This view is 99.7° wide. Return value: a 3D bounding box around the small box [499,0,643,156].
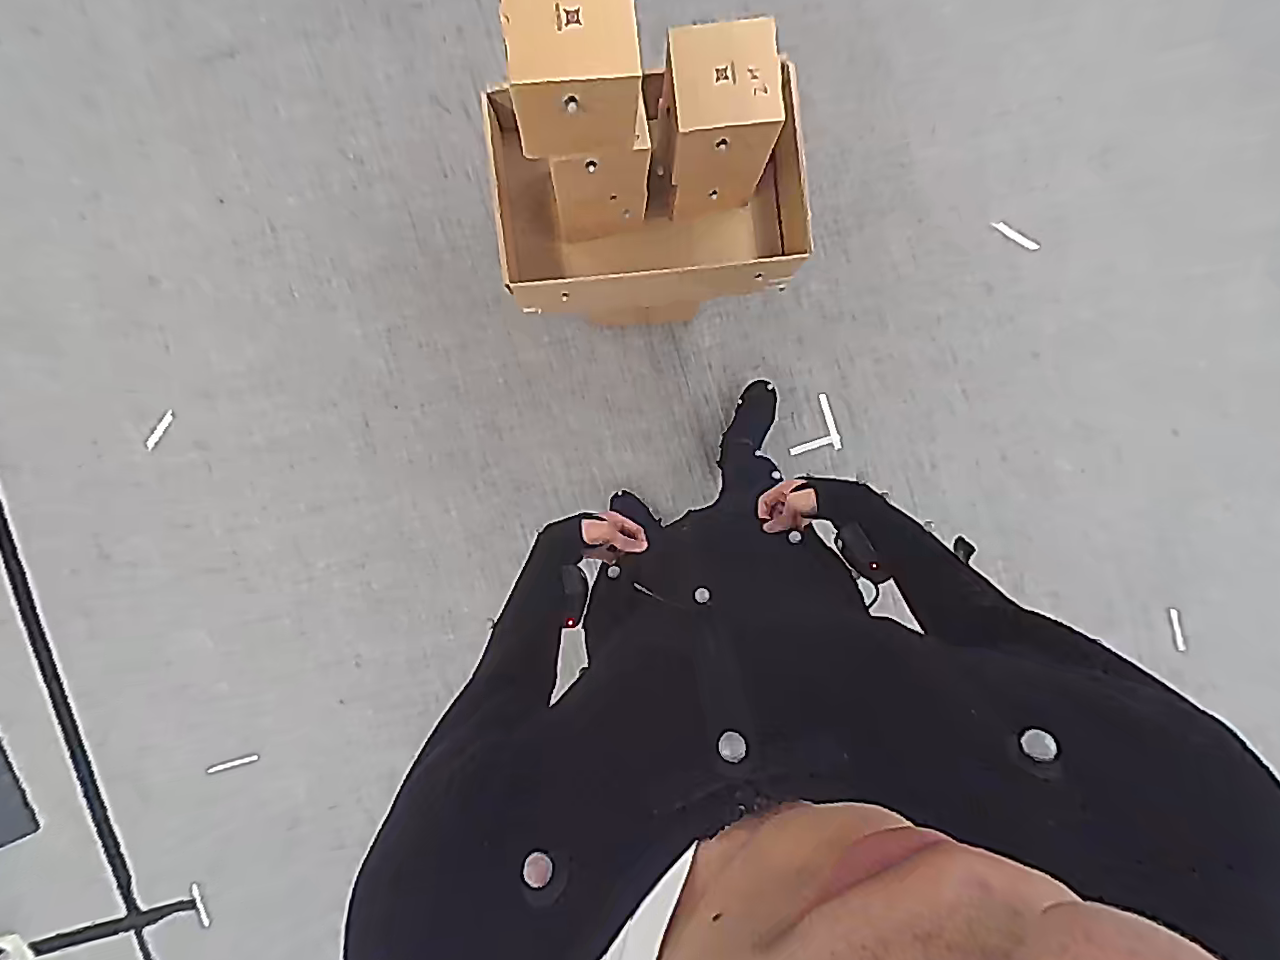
[{"bbox_3d":[-0.096,-0.596,0.774,0.179,0.176,0.168,-7,92,-3],"label":"small box"}]
